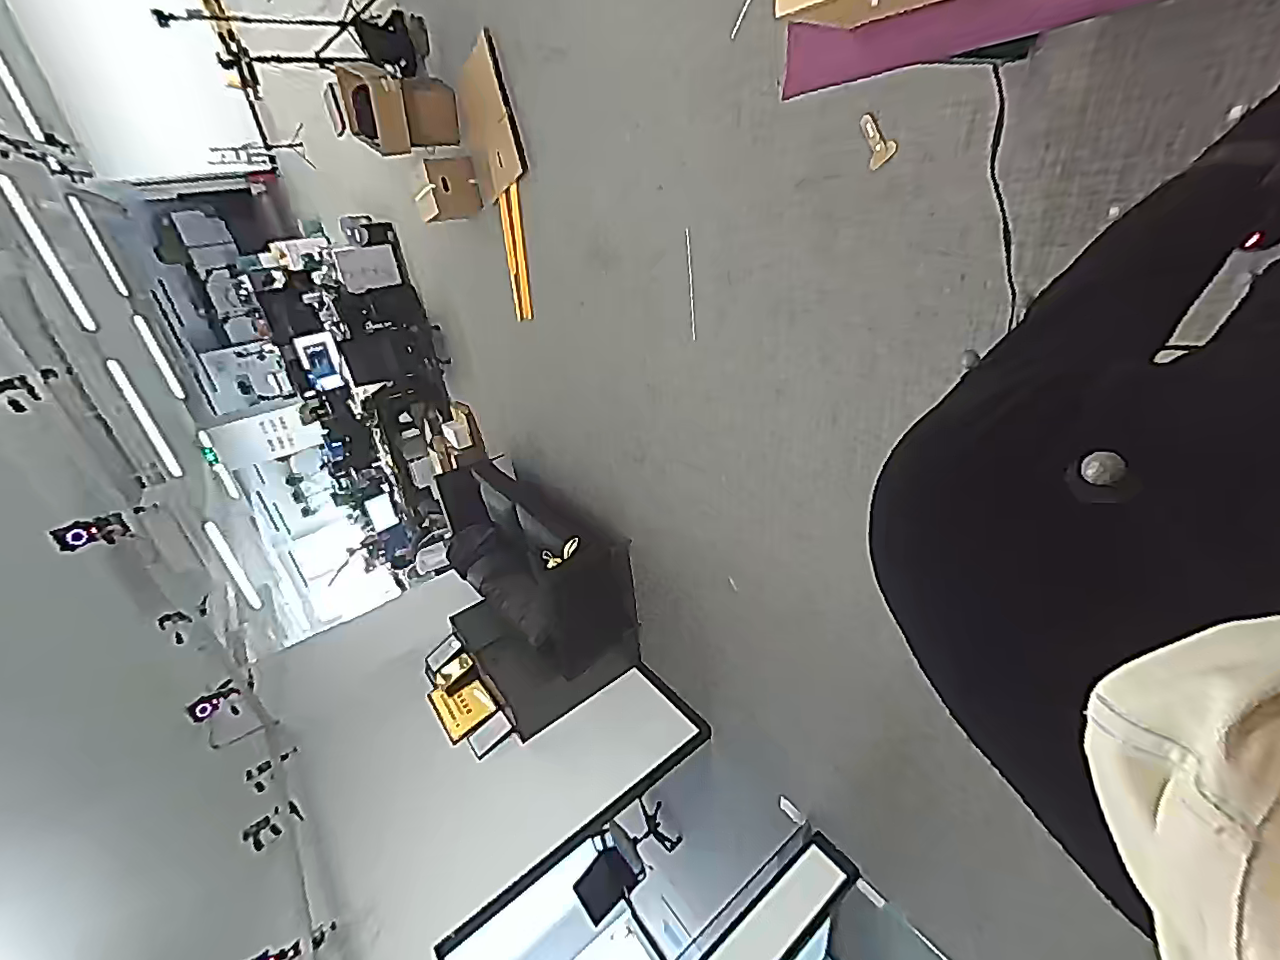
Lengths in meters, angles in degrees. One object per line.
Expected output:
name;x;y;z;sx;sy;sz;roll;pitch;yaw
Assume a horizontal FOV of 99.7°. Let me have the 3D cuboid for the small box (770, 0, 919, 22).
small box;0.289;-0.710;0.686;0.179;0.176;0.168;29;133;46
